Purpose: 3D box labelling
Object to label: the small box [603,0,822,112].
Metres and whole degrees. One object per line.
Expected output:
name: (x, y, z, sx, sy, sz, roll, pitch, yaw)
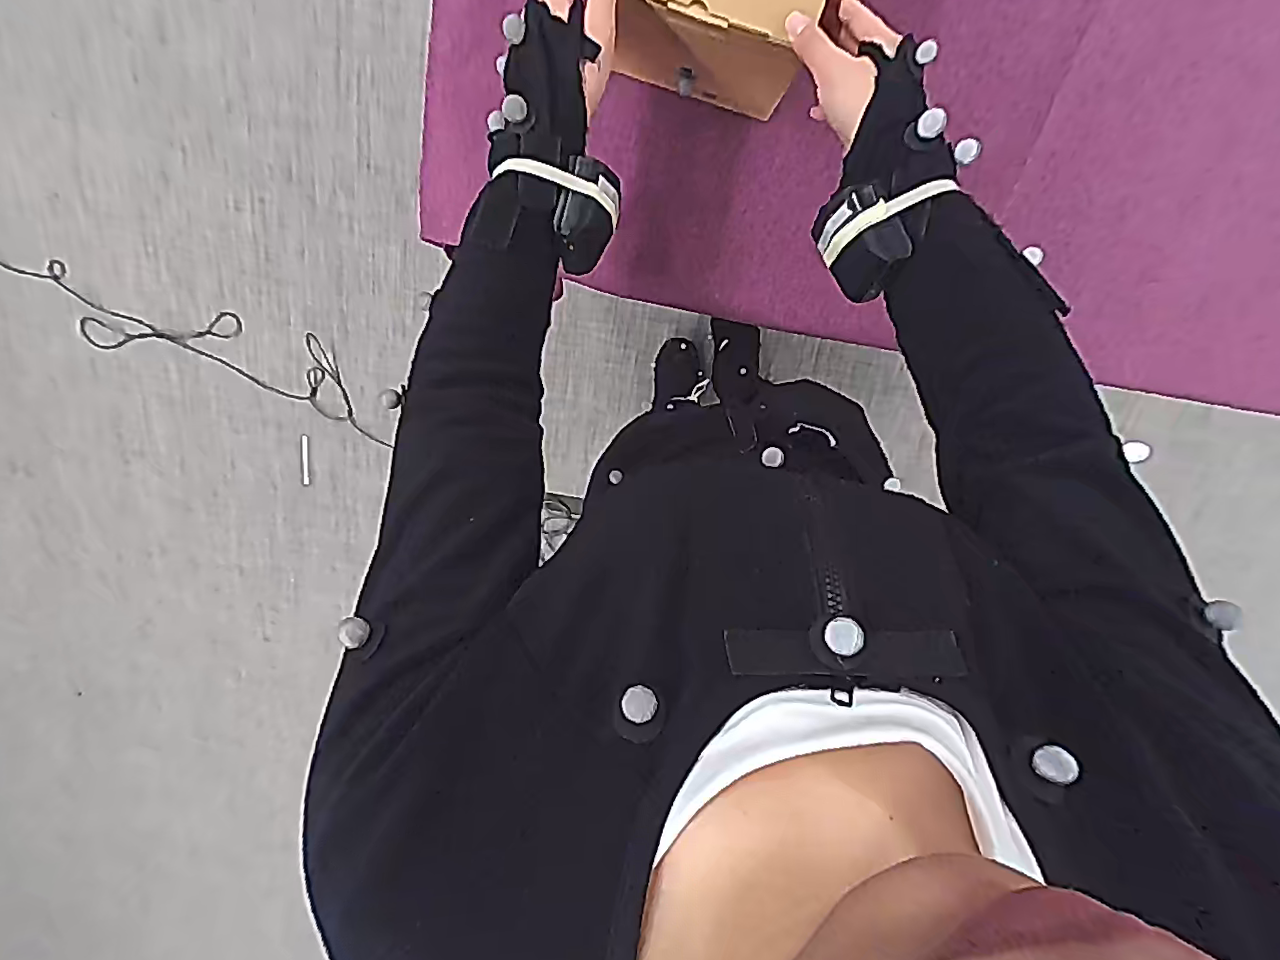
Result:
small box: (0.066, -0.431, 0.421, 0.168, 0.176, 0.179, 16, 109, -3)
